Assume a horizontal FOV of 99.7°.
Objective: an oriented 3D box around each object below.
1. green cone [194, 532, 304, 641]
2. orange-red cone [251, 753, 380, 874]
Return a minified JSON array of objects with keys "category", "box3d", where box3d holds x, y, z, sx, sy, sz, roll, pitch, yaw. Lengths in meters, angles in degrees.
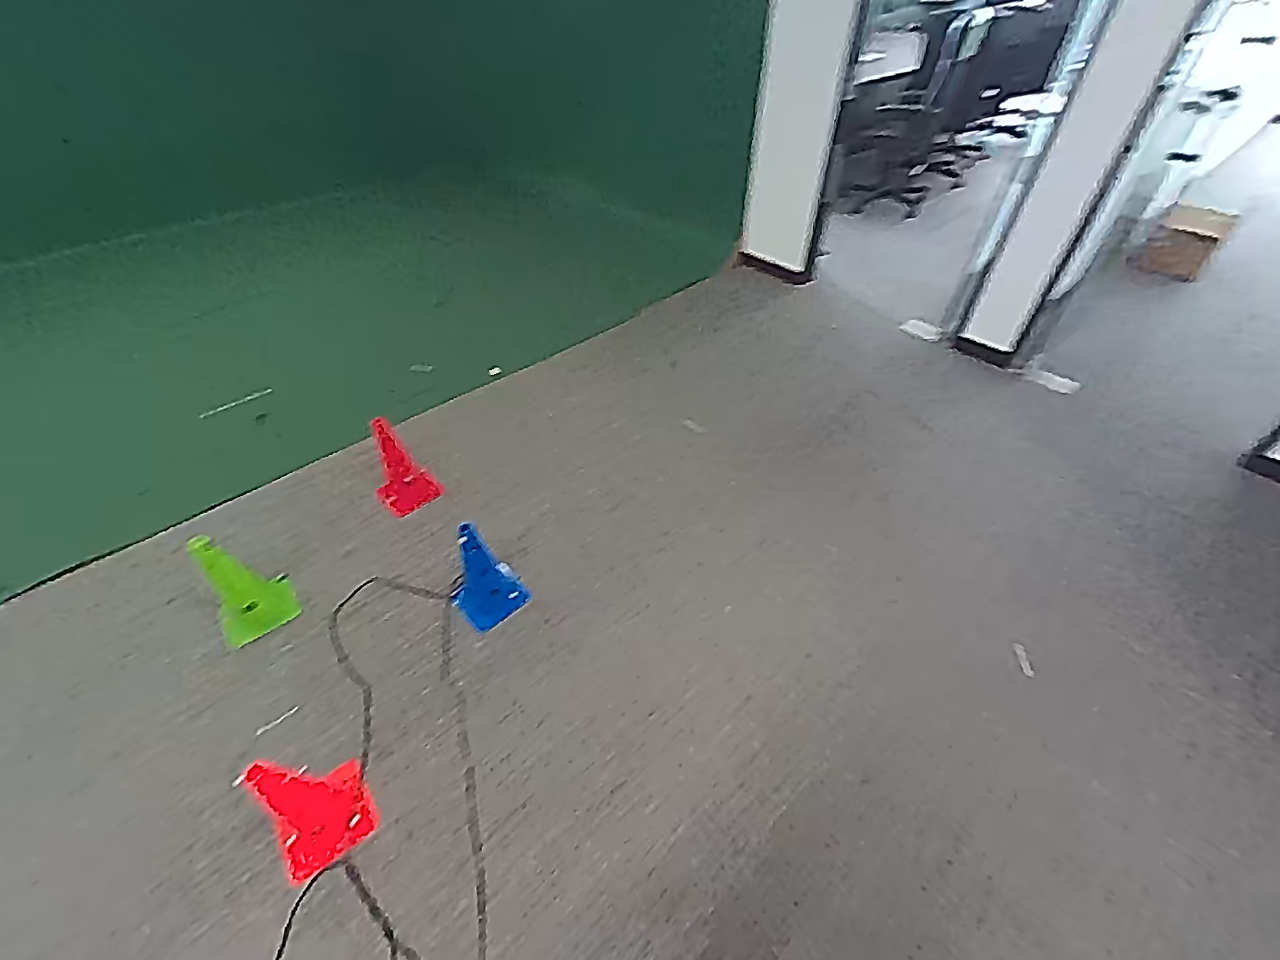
[{"category":"green cone","box3d":[-1.209,0.280,1.613,0.200,0.368,0.202,-30,53,-25]},{"category":"orange-red cone","box3d":[-0.761,0.692,1.207,0.198,0.360,0.199,-27,50,-25]}]
